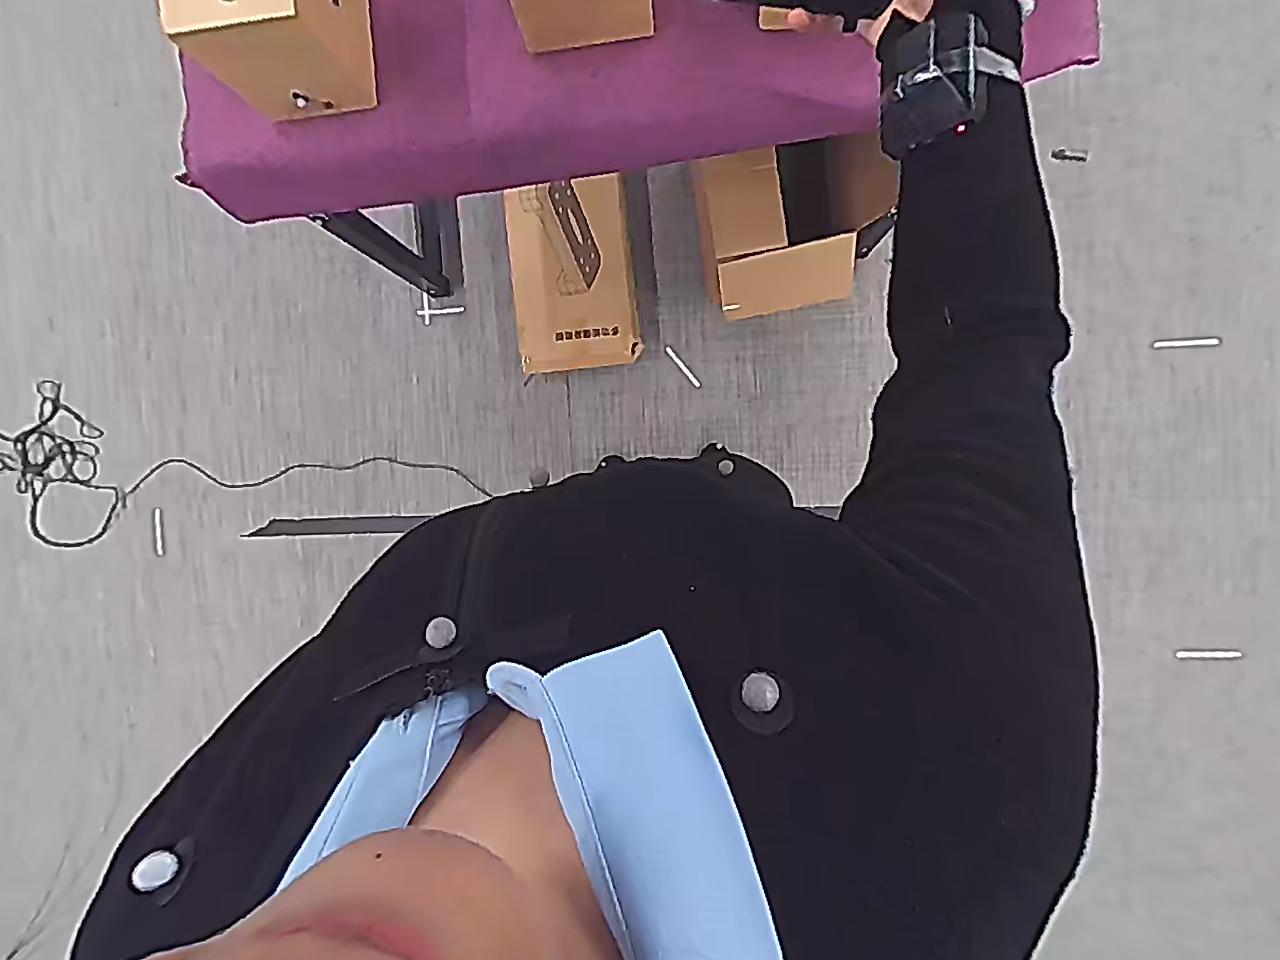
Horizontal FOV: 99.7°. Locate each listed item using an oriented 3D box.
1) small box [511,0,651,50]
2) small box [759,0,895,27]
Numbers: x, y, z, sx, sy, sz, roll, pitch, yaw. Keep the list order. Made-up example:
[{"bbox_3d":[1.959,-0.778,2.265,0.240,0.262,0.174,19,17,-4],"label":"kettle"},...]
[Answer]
[{"bbox_3d":[-0.079,-0.672,0.655,0.179,0.176,0.168,-5,89,5],"label":"small box"},{"bbox_3d":[0.238,-0.675,0.631,0.179,0.176,0.168,2,92,4],"label":"small box"}]
